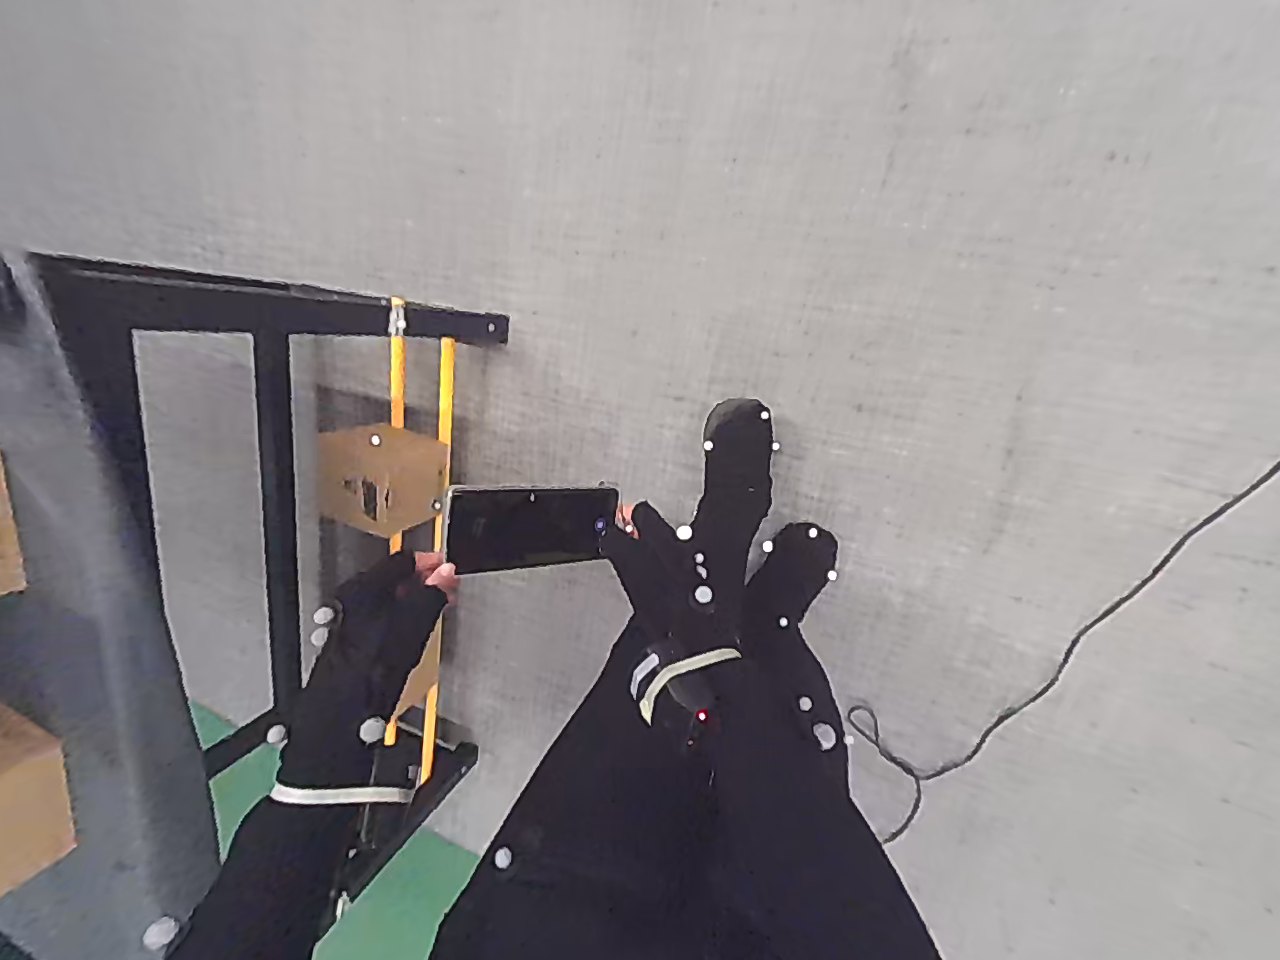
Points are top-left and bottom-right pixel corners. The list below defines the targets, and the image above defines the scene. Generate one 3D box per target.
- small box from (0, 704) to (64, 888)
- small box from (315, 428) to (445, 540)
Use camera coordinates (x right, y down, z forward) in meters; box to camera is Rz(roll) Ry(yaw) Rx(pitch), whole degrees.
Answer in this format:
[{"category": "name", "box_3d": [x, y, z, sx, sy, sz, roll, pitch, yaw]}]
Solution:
[{"category": "small box", "box_3d": [-0.820, 0.393, 0.623, 0.168, 0.176, 0.179, 17, 107, 16]}, {"category": "small box", "box_3d": [-0.525, -0.001, 1.104, 0.179, 0.176, 0.168, 17, 107, 15]}]
